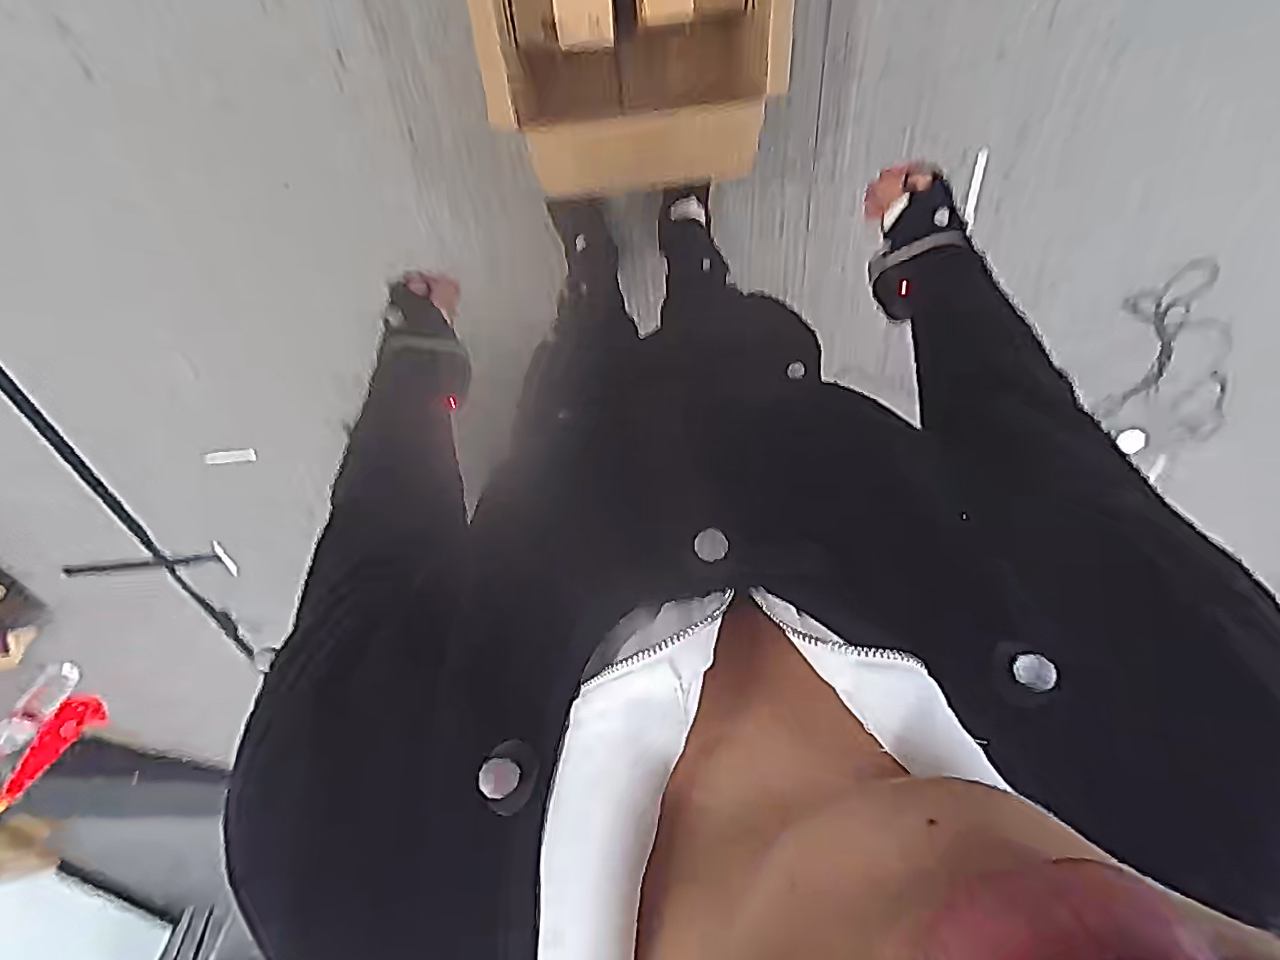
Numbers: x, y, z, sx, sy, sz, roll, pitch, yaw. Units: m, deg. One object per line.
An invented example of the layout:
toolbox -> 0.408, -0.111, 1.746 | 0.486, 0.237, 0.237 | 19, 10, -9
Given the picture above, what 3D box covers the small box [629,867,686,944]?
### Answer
small box -> 0.056, 1.422, 1.812 | 0.179, 0.176, 0.168 | -4, 128, -1
